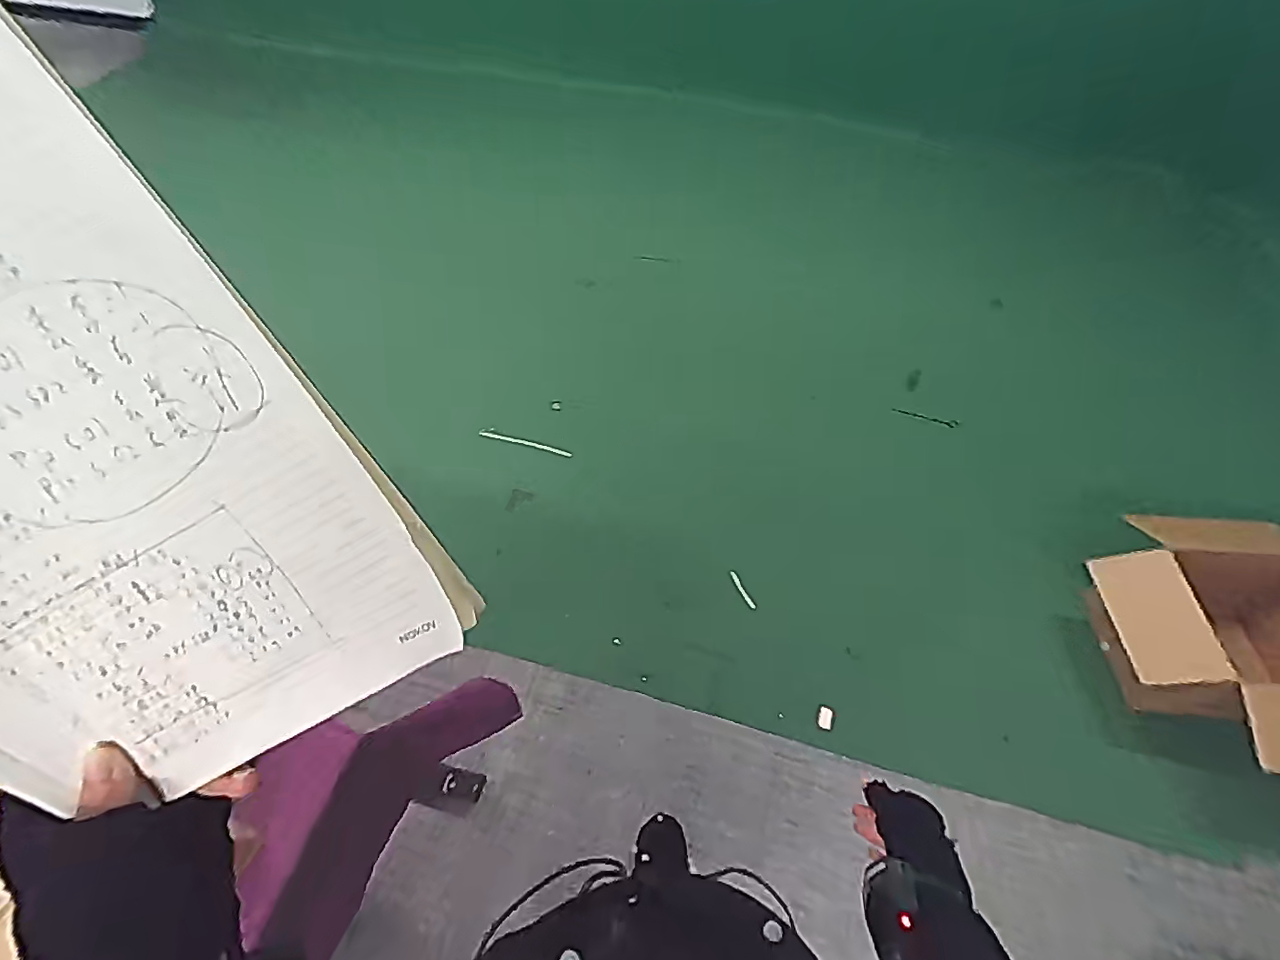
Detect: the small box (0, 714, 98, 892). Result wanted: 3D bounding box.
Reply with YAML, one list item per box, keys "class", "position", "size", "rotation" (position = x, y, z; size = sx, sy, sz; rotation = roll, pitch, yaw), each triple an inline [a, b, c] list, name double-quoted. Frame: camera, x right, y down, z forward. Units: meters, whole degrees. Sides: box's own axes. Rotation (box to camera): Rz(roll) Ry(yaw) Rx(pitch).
- class: "small box"
  position: [-0.710, 0.324, 0.522]
  size: [0.179, 0.176, 0.168]
  rotation: [20, 60, 11]
